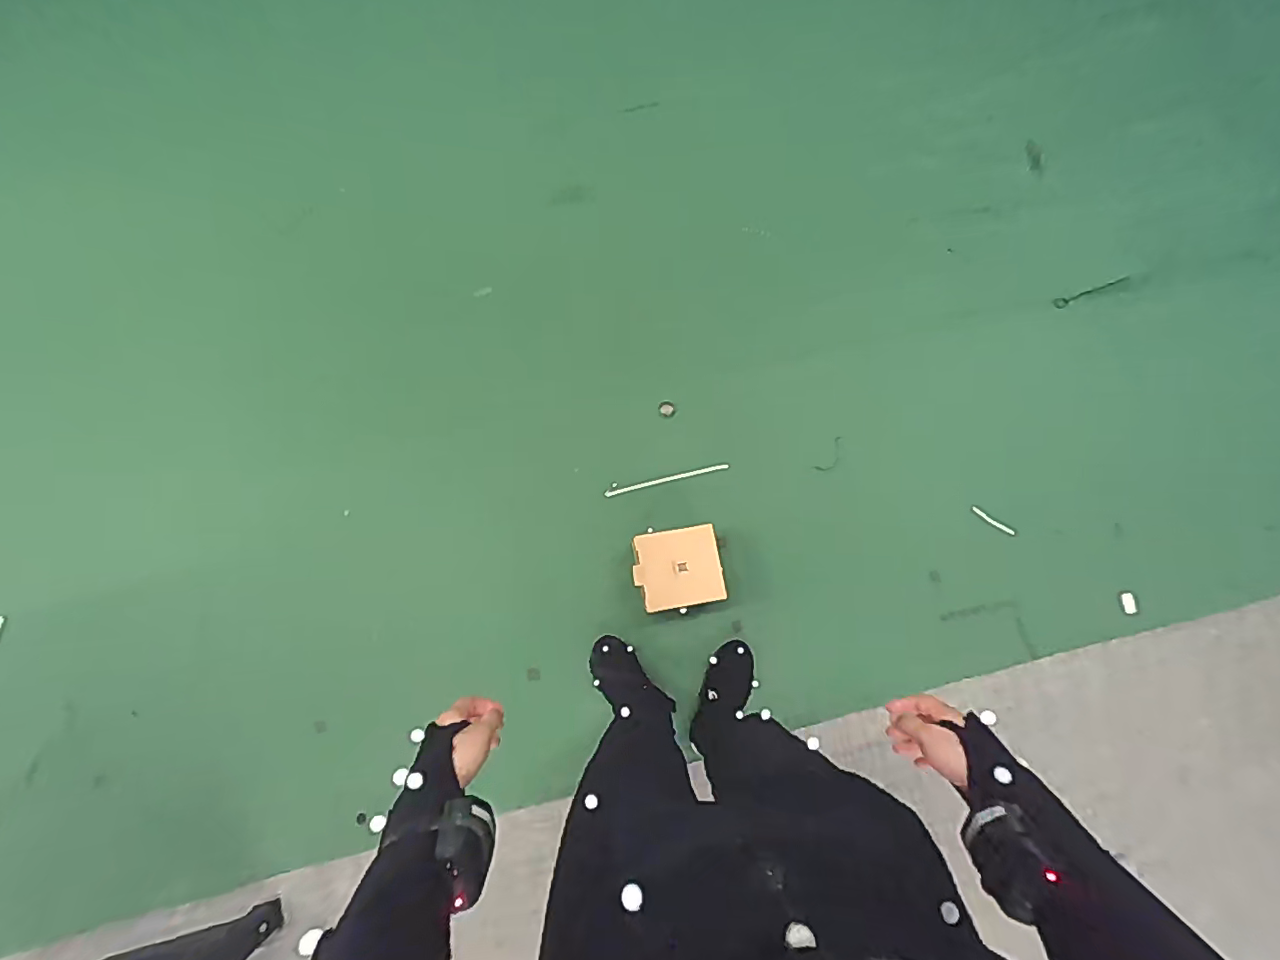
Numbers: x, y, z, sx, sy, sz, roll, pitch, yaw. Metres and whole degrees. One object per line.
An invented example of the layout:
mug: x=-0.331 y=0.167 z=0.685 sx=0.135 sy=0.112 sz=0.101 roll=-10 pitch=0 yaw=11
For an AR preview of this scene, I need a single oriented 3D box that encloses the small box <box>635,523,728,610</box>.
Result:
small box: x=0.088 y=0.194 z=1.235 sx=0.179 sy=0.176 sz=0.168 roll=-10 pitch=82 yaw=-2
